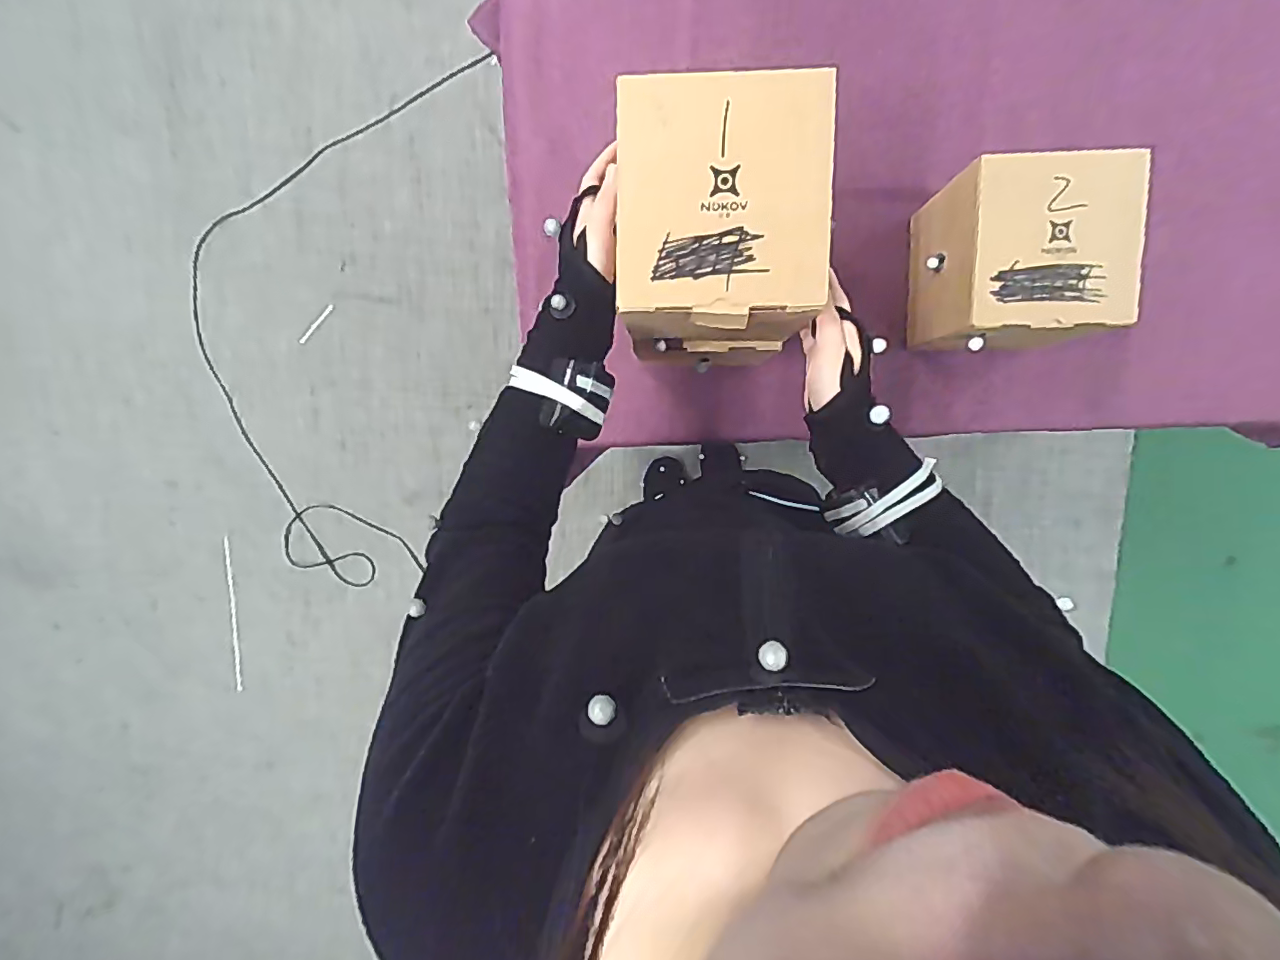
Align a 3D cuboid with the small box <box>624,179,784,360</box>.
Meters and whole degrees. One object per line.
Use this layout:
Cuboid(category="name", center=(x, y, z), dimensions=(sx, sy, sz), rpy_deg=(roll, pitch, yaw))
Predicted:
Cuboid(category="small box", center=(0.071, -0.241, 0.658), dimensions=(0.168, 0.176, 0.179), rpy_deg=(2, 98, 2))
